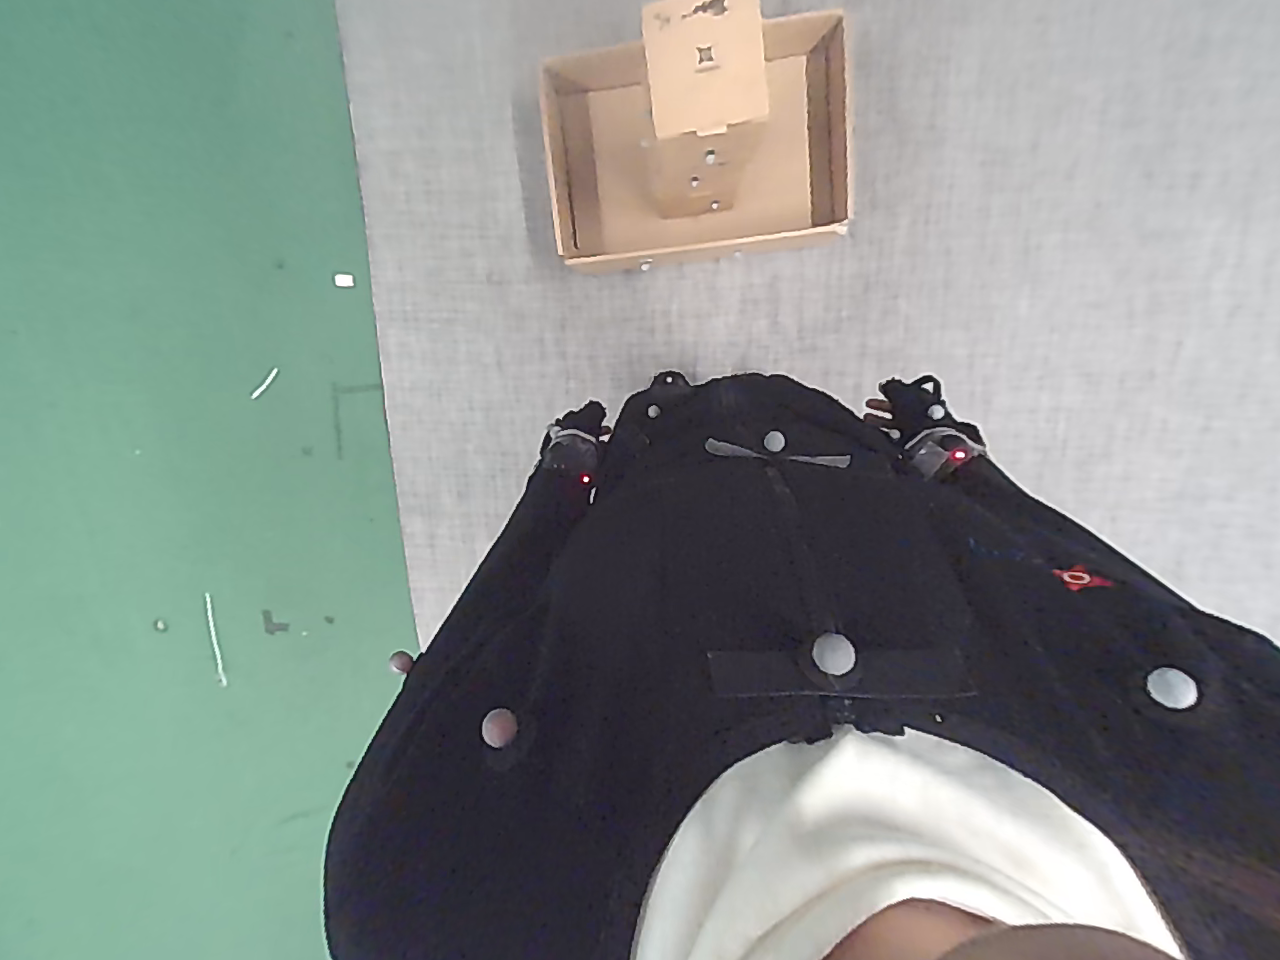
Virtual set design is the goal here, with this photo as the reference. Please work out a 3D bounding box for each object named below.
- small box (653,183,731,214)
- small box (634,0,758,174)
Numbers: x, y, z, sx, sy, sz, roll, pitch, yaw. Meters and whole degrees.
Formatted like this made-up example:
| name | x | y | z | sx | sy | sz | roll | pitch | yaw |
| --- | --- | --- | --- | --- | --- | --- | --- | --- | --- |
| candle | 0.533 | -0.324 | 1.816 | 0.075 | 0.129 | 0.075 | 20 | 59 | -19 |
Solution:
| name | x | y | z | sx | sy | sz | roll | pitch | yaw |
| --- | --- | --- | --- | --- | --- | --- | --- | --- | --- |
| small box | 0.106 | -0.690 | 1.164 | 0.168 | 0.176 | 0.179 | -5 | 100 | 6 |
| small box | 0.092 | -0.614 | 0.865 | 0.168 | 0.176 | 0.179 | -8 | 101 | 8 |
